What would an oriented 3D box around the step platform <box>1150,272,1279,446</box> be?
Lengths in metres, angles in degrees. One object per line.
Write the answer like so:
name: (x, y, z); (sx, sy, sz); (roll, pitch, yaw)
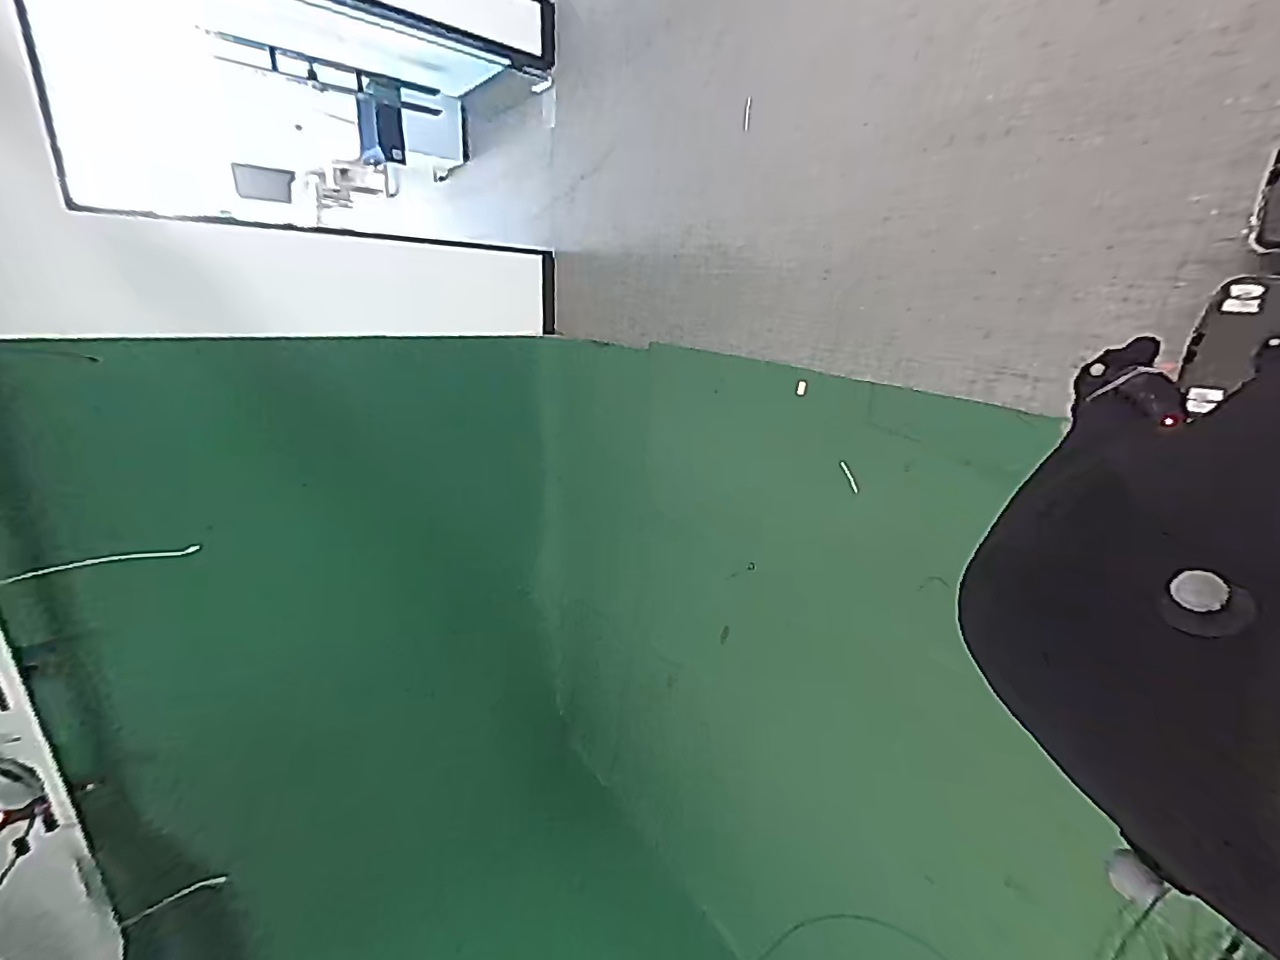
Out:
step platform: (1.214, -0.138, 0.768); (0.684, 0.204, 0.286); (24, 118, 46)
